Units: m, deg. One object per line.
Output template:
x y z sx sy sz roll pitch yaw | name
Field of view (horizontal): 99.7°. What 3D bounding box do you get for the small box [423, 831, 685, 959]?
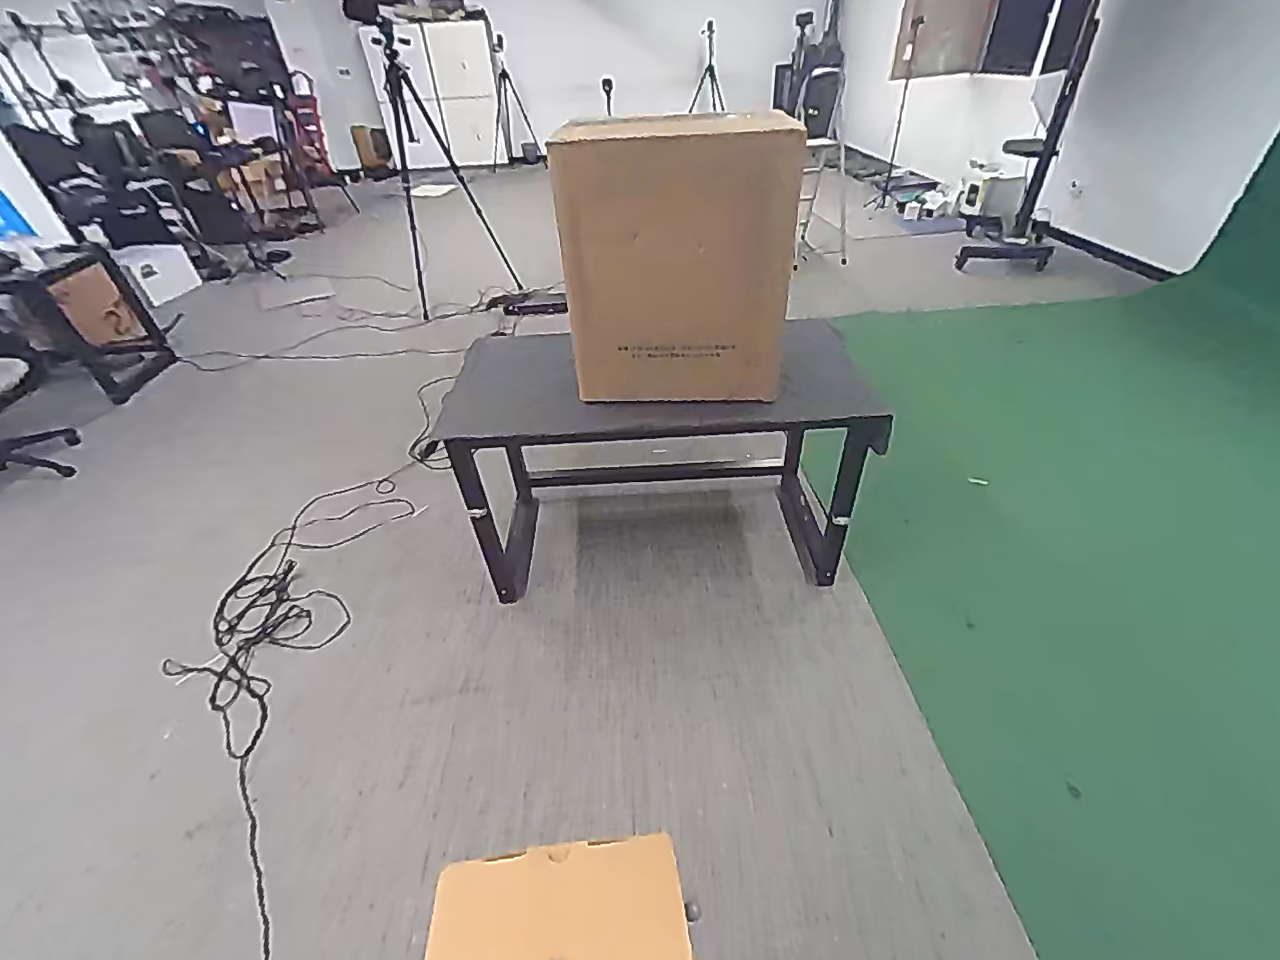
-0.049 0.377 0.354 0.168 0.176 0.179 -4 26 -6 | small box
